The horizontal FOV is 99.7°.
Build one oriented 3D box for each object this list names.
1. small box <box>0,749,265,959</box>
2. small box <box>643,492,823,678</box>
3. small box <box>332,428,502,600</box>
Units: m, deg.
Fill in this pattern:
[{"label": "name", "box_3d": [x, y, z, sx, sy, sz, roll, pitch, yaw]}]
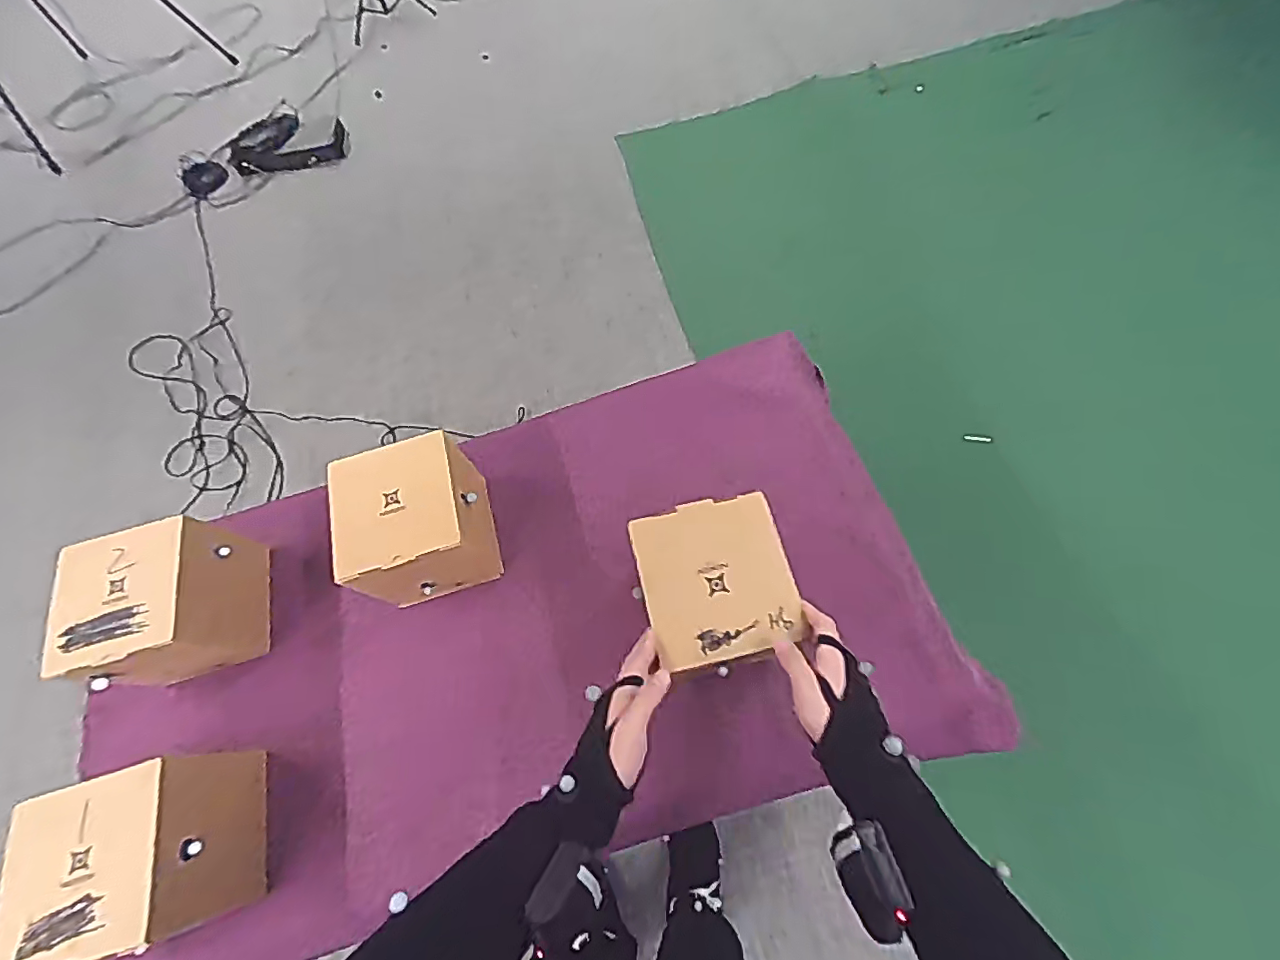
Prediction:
[{"label": "small box", "box_3d": [-0.577, 0.433, 0.635, 0.168, 0.176, 0.179, -17, 65, -3]}, {"label": "small box", "box_3d": [0.100, 0.137, 0.670, 0.168, 0.176, 0.179, -12, 68, -2]}, {"label": "small box", "box_3d": [-0.314, 0.056, 0.781, 0.168, 0.176, 0.179, -17, 67, -3]}]
